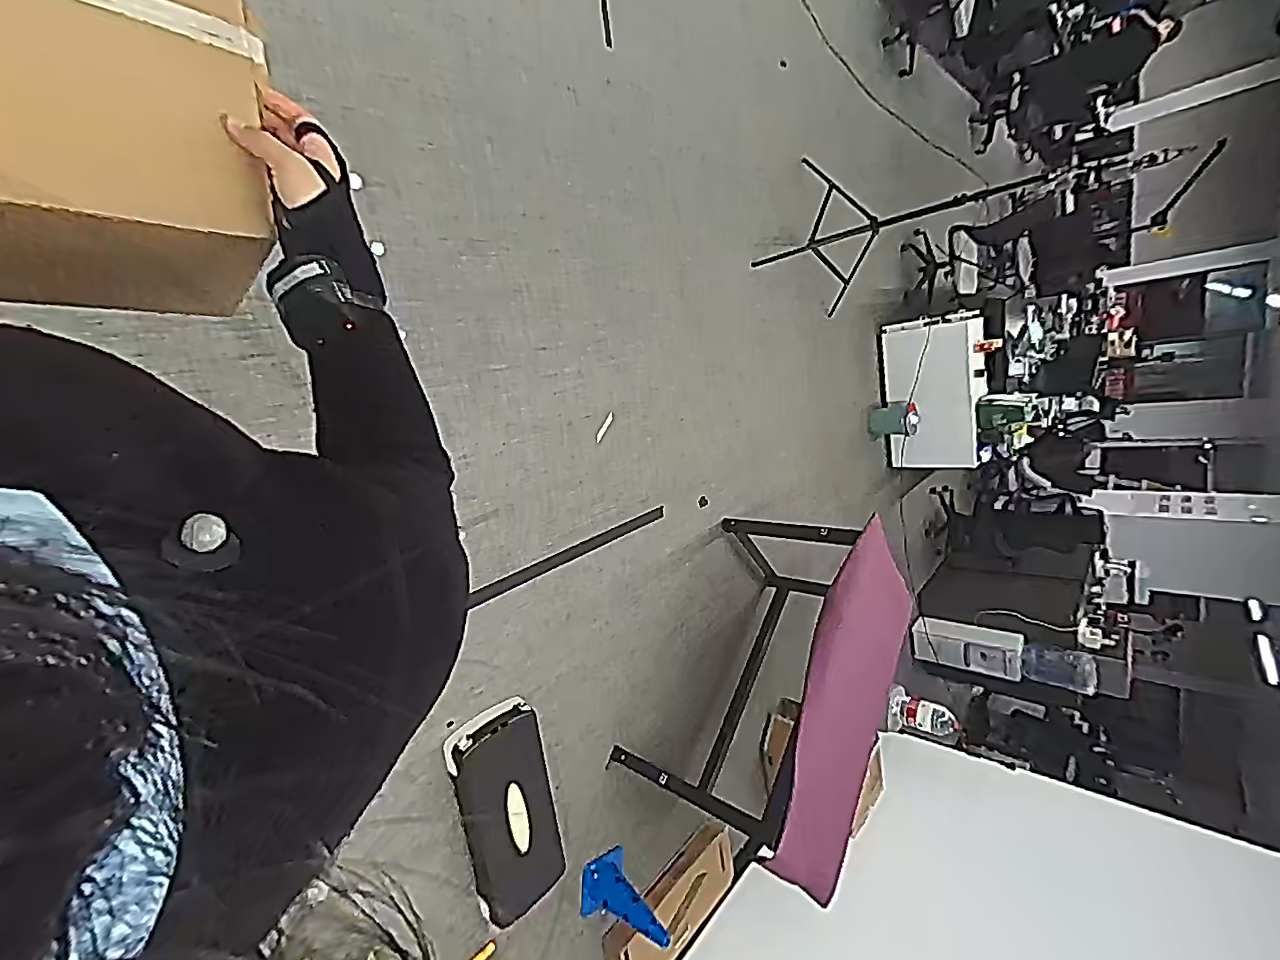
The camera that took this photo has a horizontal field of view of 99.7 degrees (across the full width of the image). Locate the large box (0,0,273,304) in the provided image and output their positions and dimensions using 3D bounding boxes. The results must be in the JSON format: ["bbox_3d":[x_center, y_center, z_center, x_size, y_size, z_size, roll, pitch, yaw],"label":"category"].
[{"bbox_3d":[-0.578,-0.342,0.438,0.408,0.320,0.320,-9,96,-42],"label":"large box"}]
